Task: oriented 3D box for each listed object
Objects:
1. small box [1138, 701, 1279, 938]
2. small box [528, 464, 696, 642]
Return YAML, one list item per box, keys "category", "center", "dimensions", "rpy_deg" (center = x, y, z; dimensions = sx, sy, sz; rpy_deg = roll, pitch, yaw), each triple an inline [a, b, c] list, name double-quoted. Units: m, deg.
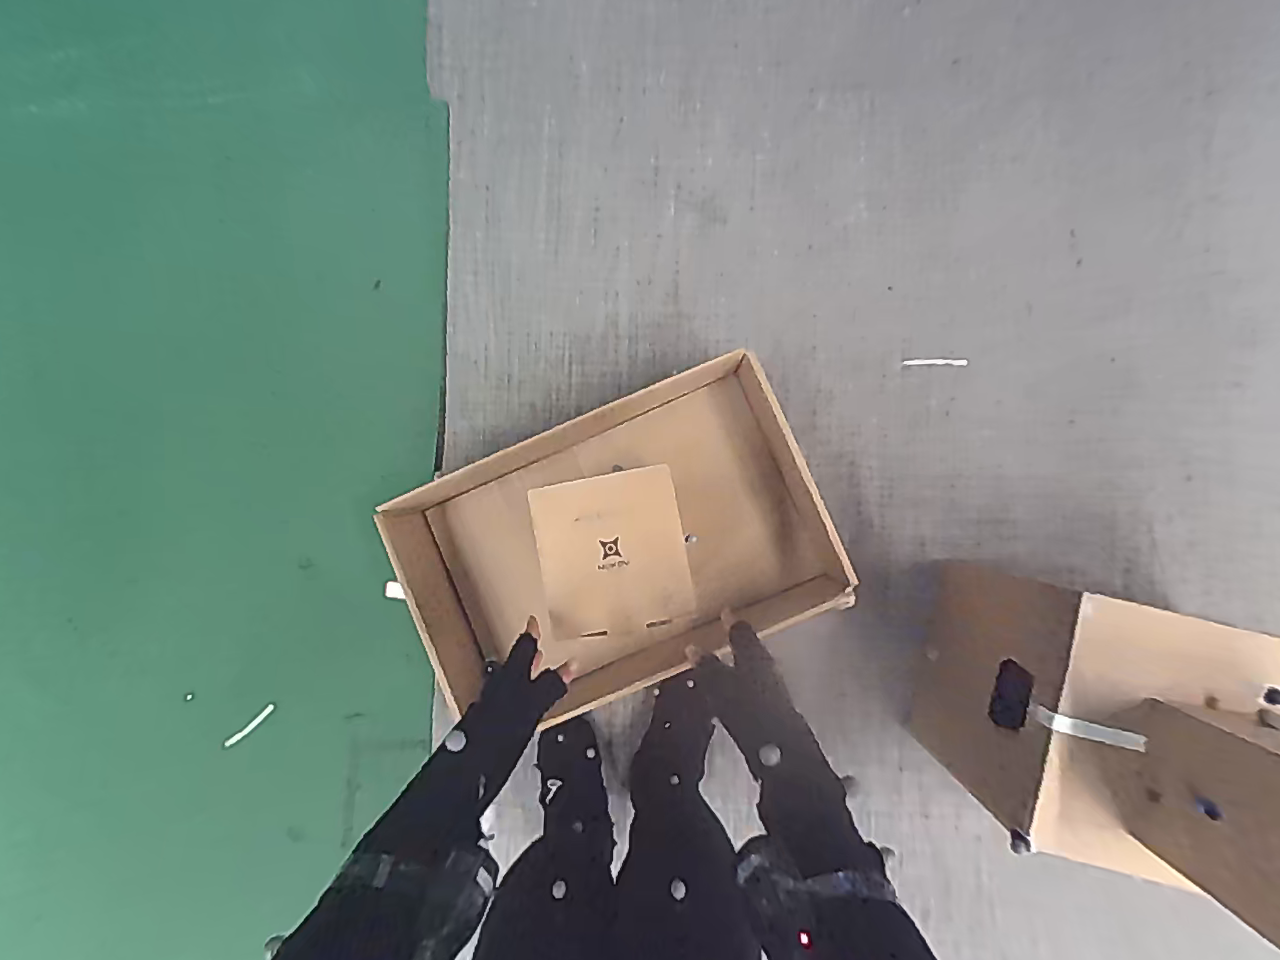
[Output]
- category: "small box"
  center: [0.657, 0.339, 0.537]
  dimensions: [0.179, 0.176, 0.168]
  rpy_deg: [8, 90, 4]
- category: "small box"
  center: [-0.026, 0.085, 0.679]
  dimensions: [0.168, 0.176, 0.179]
  rpy_deg: [-12, 86, 3]
